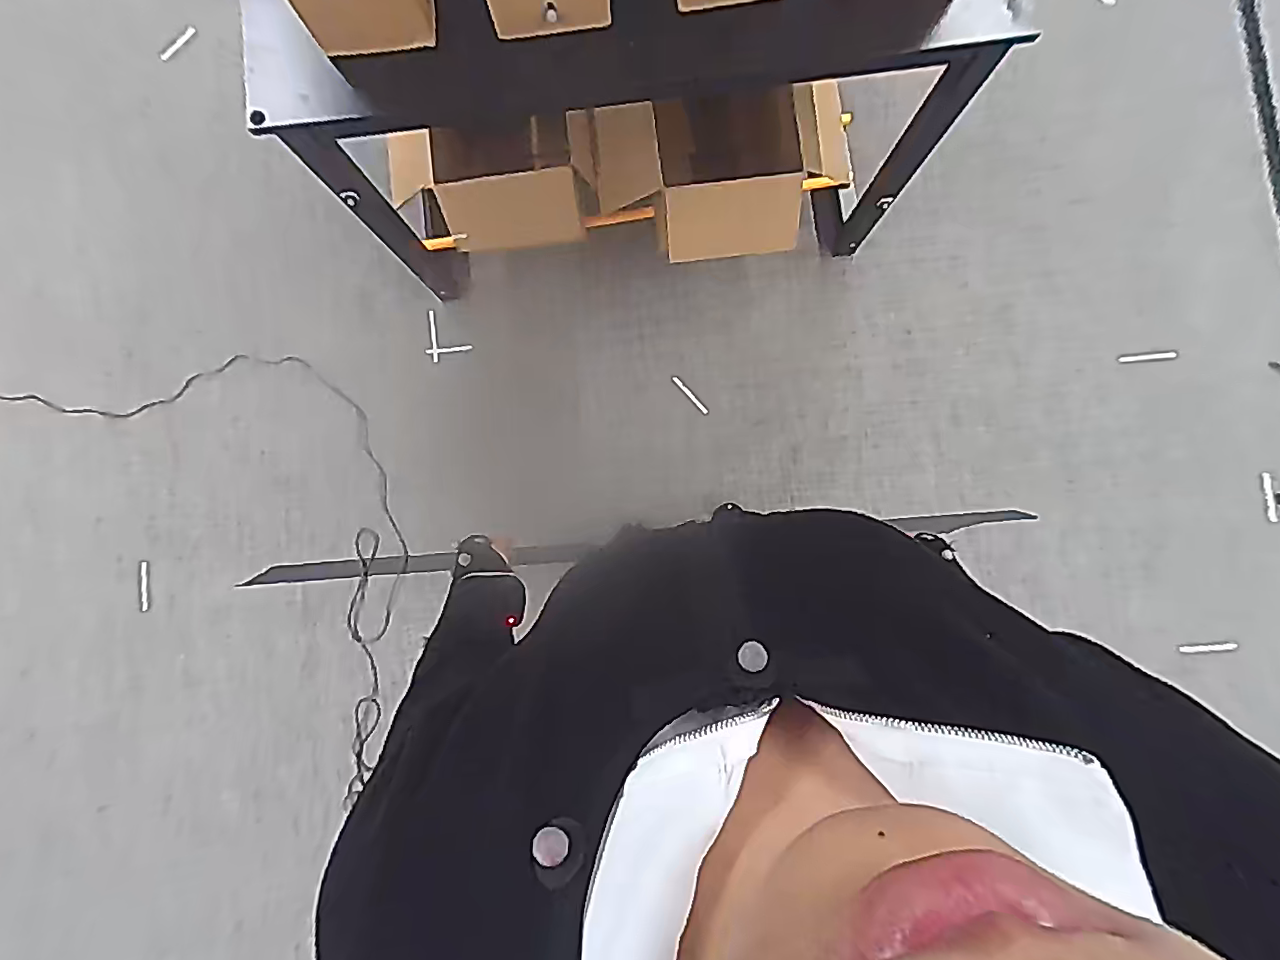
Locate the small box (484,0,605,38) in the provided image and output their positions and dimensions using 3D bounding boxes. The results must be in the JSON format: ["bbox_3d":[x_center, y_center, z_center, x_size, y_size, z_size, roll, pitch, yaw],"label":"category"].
[{"bbox_3d":[-0.143,-0.763,0.746,0.179,0.176,0.168,-8,86,0],"label":"small box"}]

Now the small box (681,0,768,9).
[{"bbox_3d":[0.125,-0.811,0.743,0.168,0.176,0.179,-8,87,1],"label":"small box"}]

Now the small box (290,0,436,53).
[{"bbox_3d":[-0.405,-0.737,0.749,0.179,0.176,0.168,-6,87,0],"label":"small box"}]
